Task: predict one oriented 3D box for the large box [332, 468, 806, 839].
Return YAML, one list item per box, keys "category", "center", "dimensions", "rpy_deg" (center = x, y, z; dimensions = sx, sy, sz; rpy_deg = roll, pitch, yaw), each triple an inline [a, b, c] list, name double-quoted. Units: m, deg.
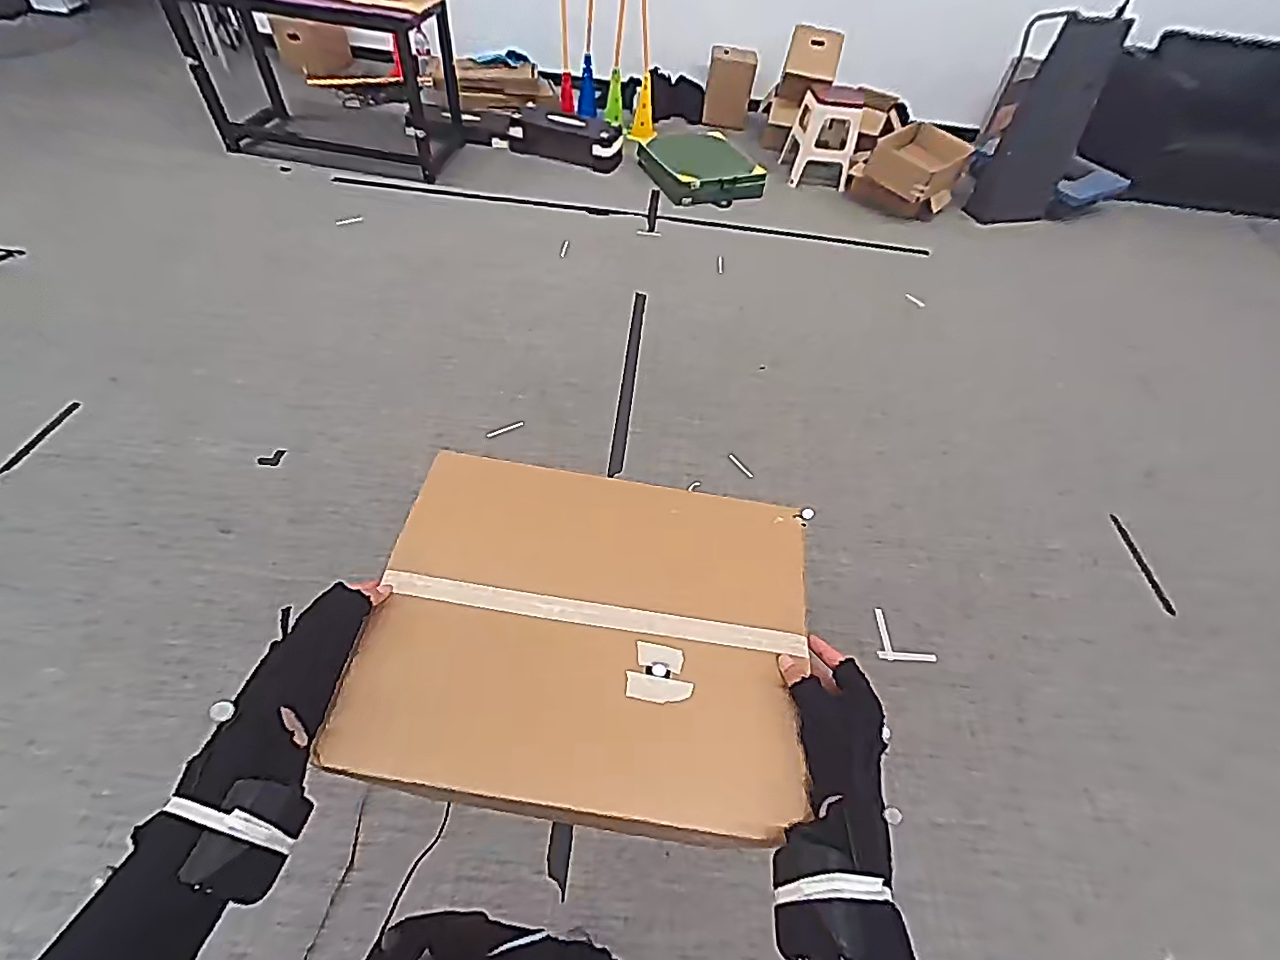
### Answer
- category: "large box"
  center: [-0.055, 0.220, 0.648]
  dimensions: [0.408, 0.320, 0.320]
  rpy_deg: [9, 57, 0]
